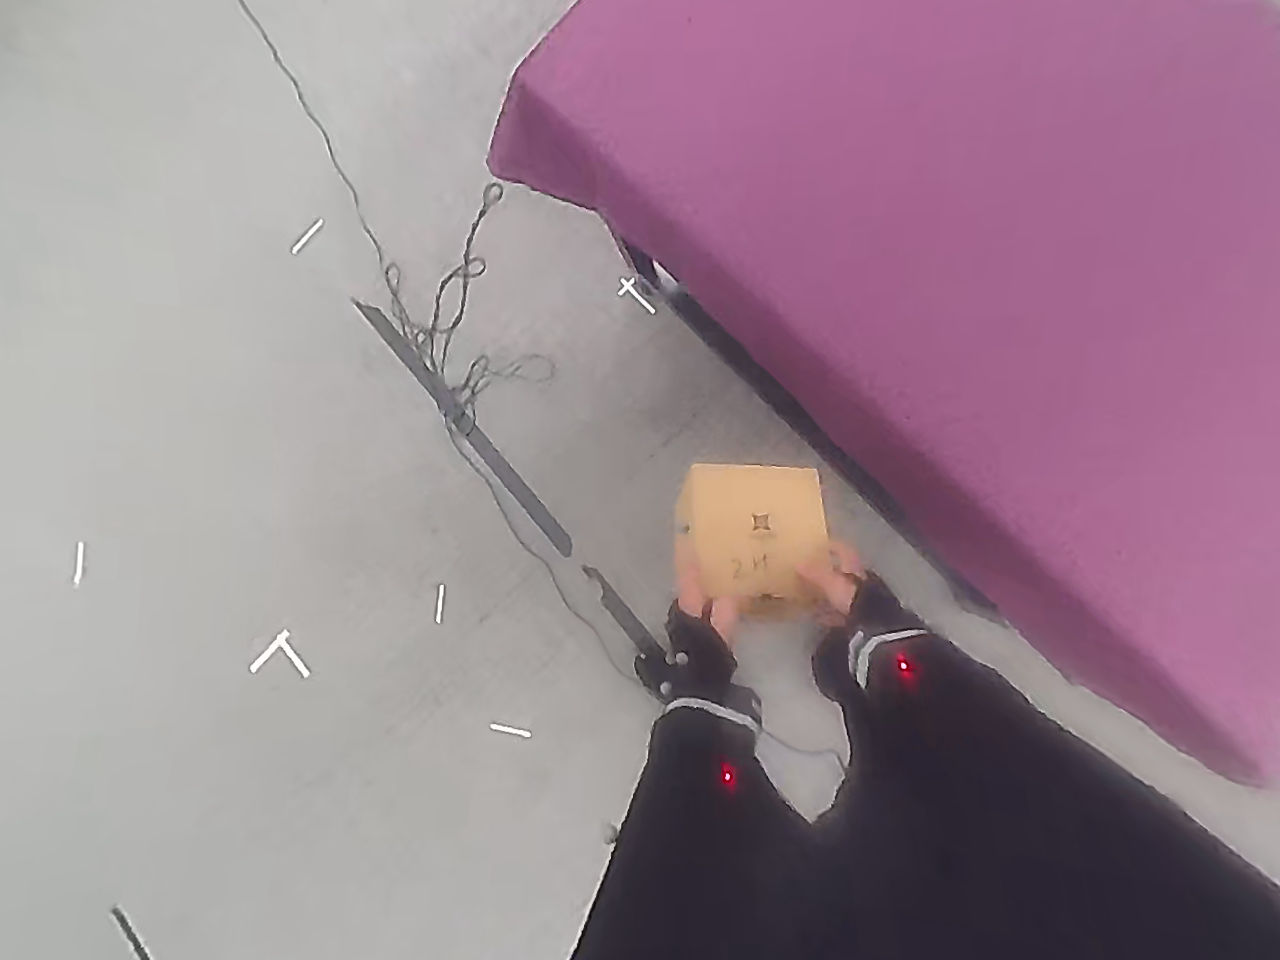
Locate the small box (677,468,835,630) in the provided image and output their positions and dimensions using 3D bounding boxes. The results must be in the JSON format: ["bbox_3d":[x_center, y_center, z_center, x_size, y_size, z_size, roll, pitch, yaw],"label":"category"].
[{"bbox_3d":[0.142,0.099,0.731,0.168,0.176,0.179,2,66,-3],"label":"small box"}]
